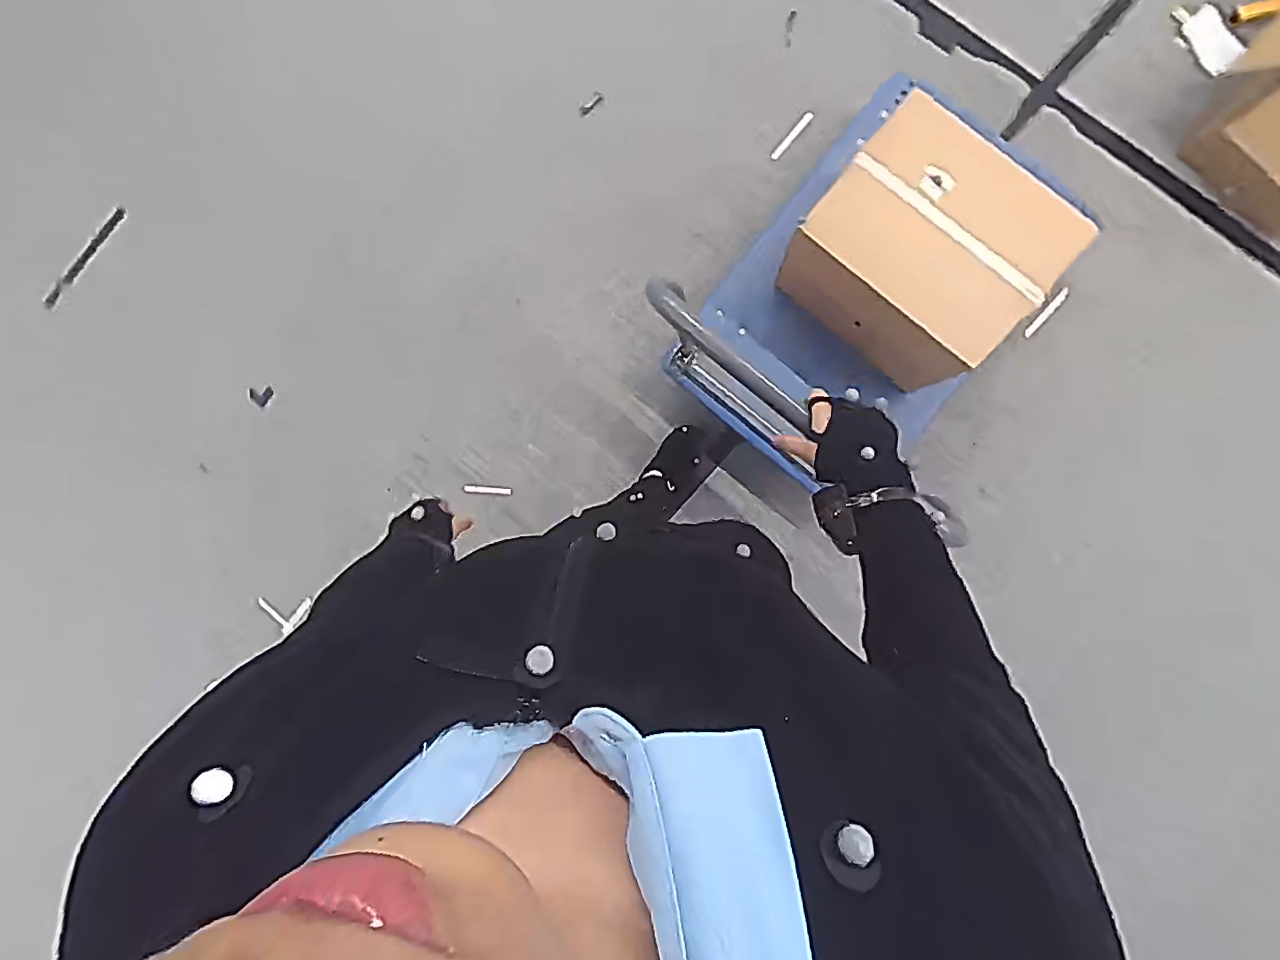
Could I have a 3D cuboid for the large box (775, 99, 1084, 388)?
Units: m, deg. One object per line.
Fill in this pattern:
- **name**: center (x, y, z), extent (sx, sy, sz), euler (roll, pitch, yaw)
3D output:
- **large box**: center (0.547, -0.447, 1.115), extent (0.408, 0.320, 0.320), euler (41, 94, 5)
